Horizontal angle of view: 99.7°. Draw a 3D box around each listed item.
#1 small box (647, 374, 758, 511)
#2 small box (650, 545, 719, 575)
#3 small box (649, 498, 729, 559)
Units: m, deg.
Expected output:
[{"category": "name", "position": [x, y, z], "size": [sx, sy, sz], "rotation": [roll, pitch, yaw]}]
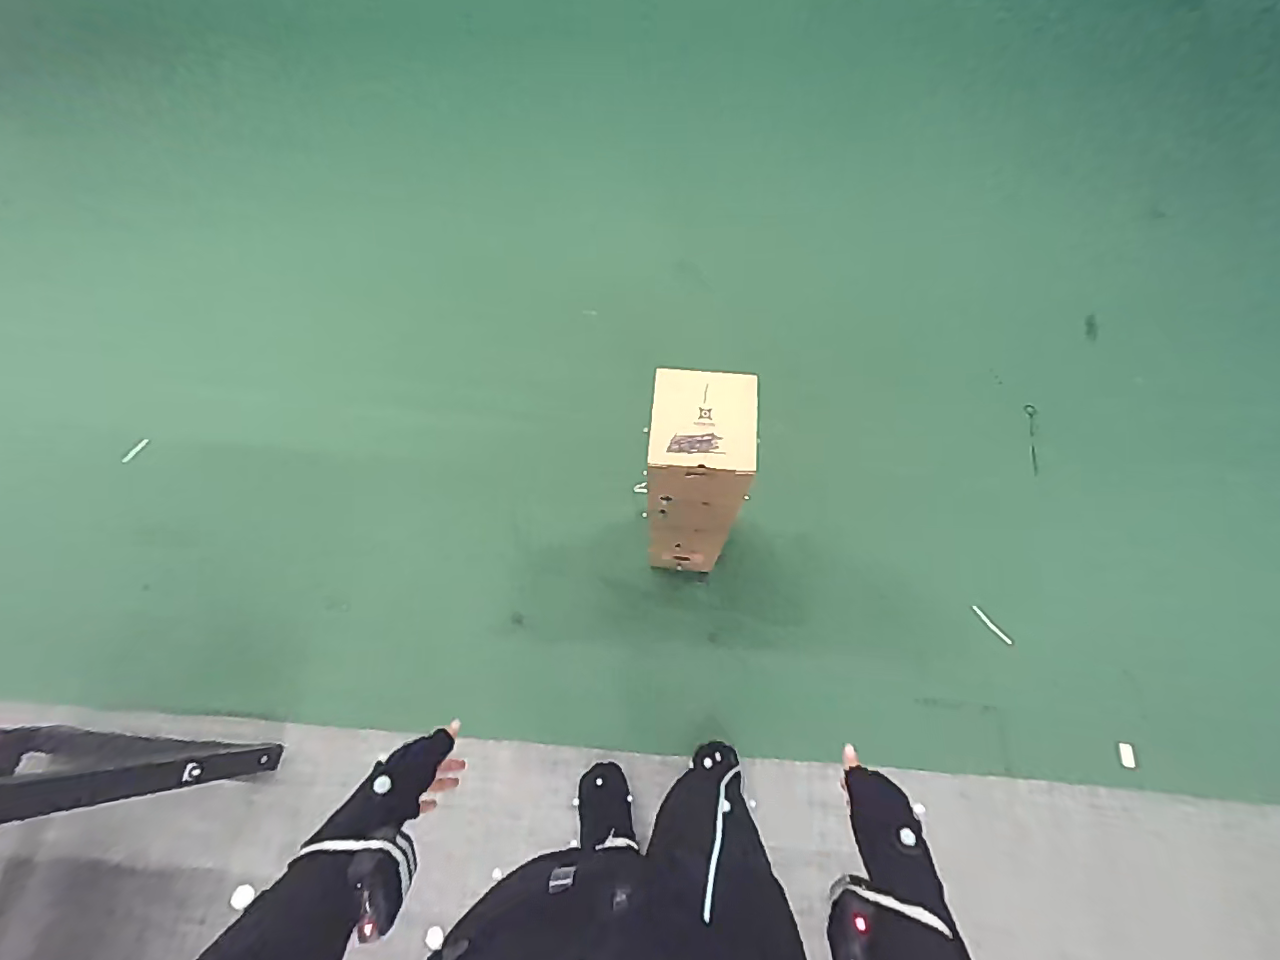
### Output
[{"category": "small box", "position": [0.102, -0.057, 0.917], "size": [0.168, 0.176, 0.179], "rotation": [5, 67, 3]}, {"category": "small box", "position": [0.114, 0.130, 1.372], "size": [0.168, 0.176, 0.179], "rotation": [5, 68, 4]}, {"category": "small box", "position": [0.109, 0.067, 1.222], "size": [0.168, 0.176, 0.179], "rotation": [4, 68, 3]}]
